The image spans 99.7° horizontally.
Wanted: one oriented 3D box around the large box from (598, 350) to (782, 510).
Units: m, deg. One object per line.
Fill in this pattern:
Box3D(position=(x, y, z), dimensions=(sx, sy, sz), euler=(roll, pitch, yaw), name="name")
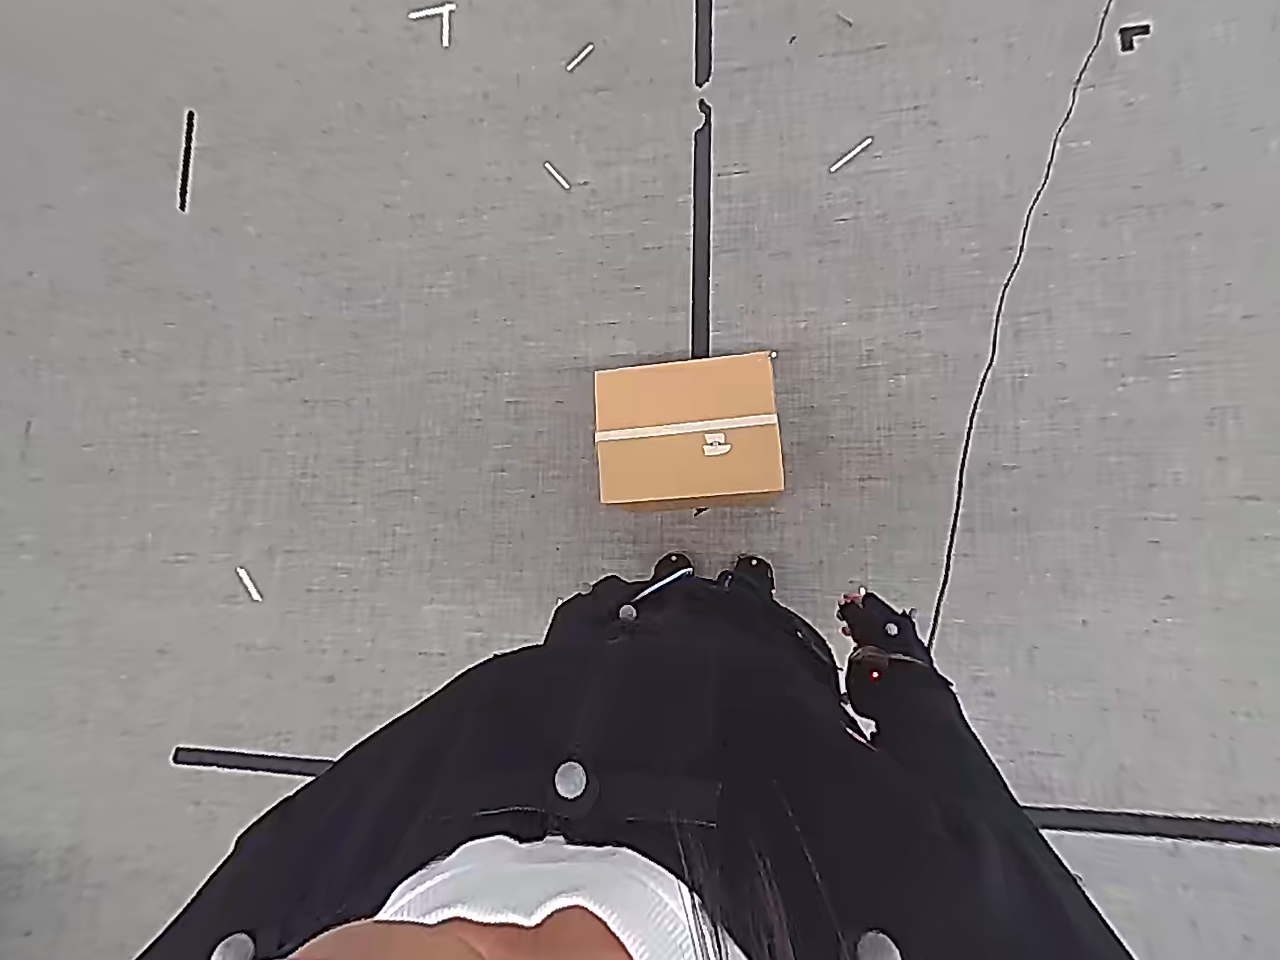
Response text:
Box3D(position=(0.128, -0.103, 1.365), dimensions=(0.408, 0.320, 0.320), euler=(-5, 82, 9), name="large box")
